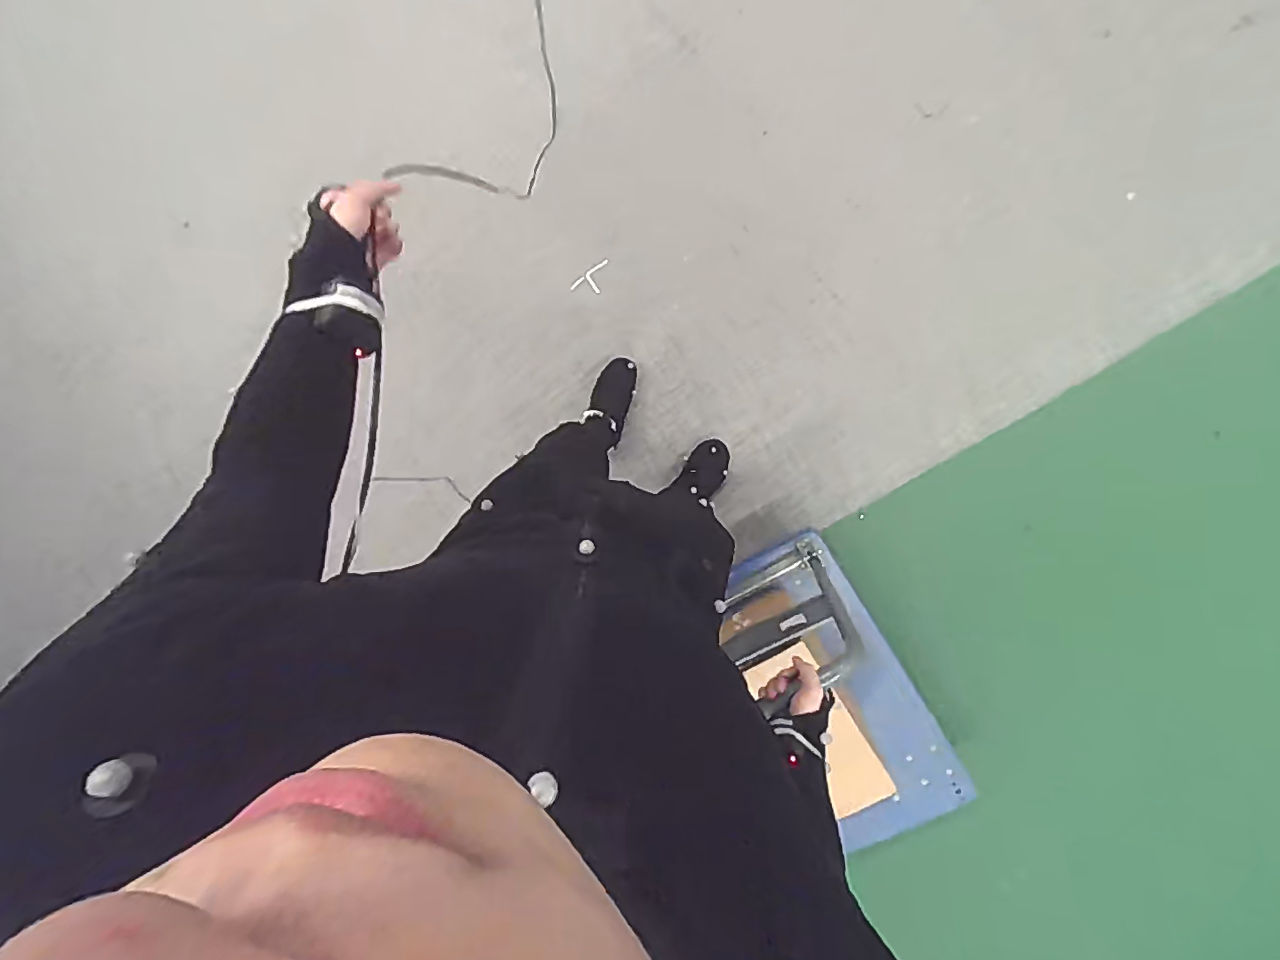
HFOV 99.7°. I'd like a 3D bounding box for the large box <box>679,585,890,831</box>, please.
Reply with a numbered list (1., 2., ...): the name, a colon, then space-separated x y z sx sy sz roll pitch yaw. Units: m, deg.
1. large box: 0.334 0.543 1.347 0.320 0.320 0.408 -32 95 12
